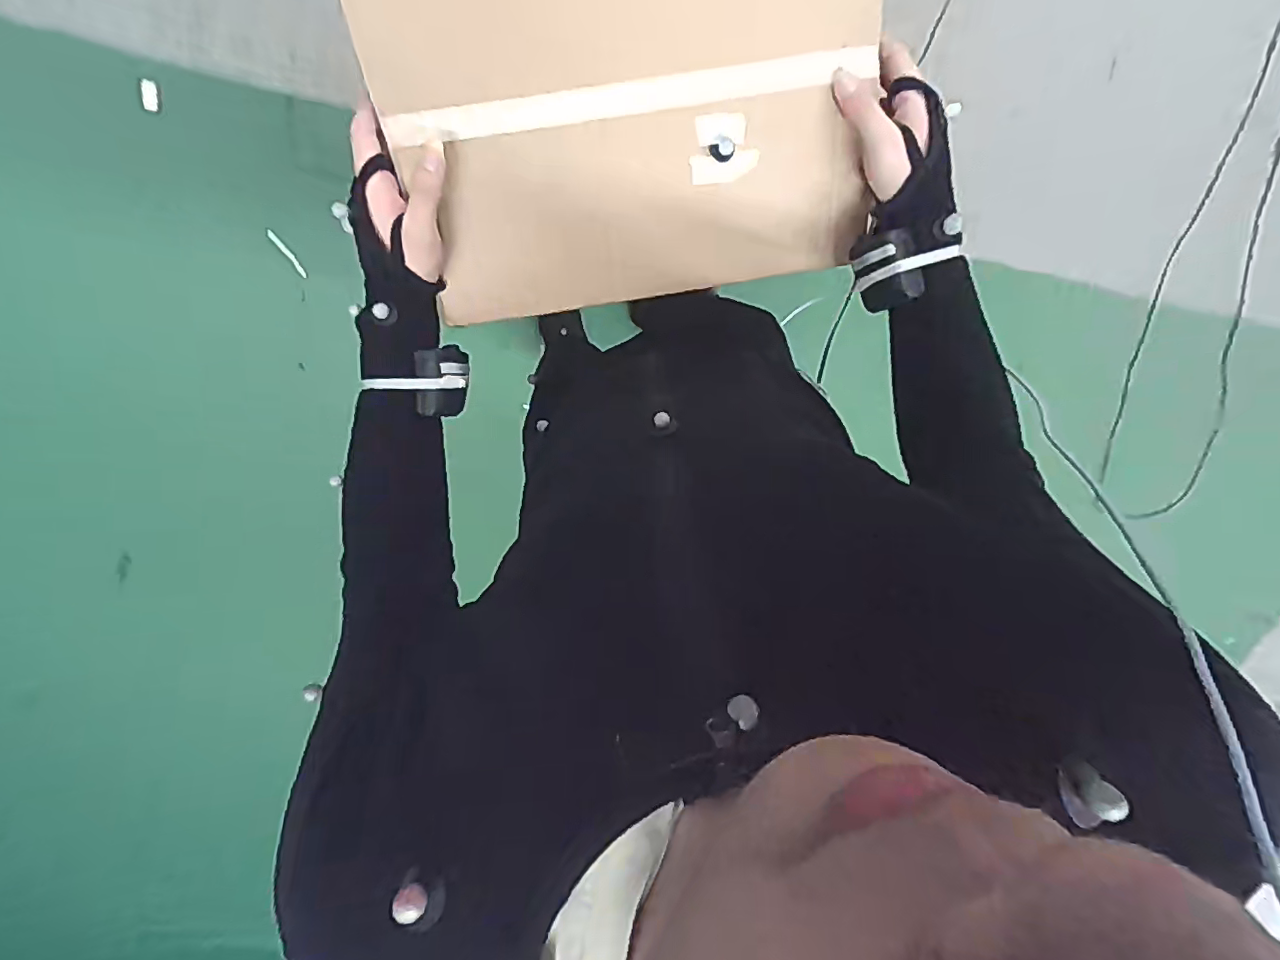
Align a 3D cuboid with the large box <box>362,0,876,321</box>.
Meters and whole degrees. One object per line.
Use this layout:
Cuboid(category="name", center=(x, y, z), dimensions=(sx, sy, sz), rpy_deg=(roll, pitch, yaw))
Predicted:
Cuboid(category="large box", center=(-0.021, -0.385, 0.578), dimensions=(0.408, 0.320, 0.320), rpy_deg=(-10, 120, -4))
